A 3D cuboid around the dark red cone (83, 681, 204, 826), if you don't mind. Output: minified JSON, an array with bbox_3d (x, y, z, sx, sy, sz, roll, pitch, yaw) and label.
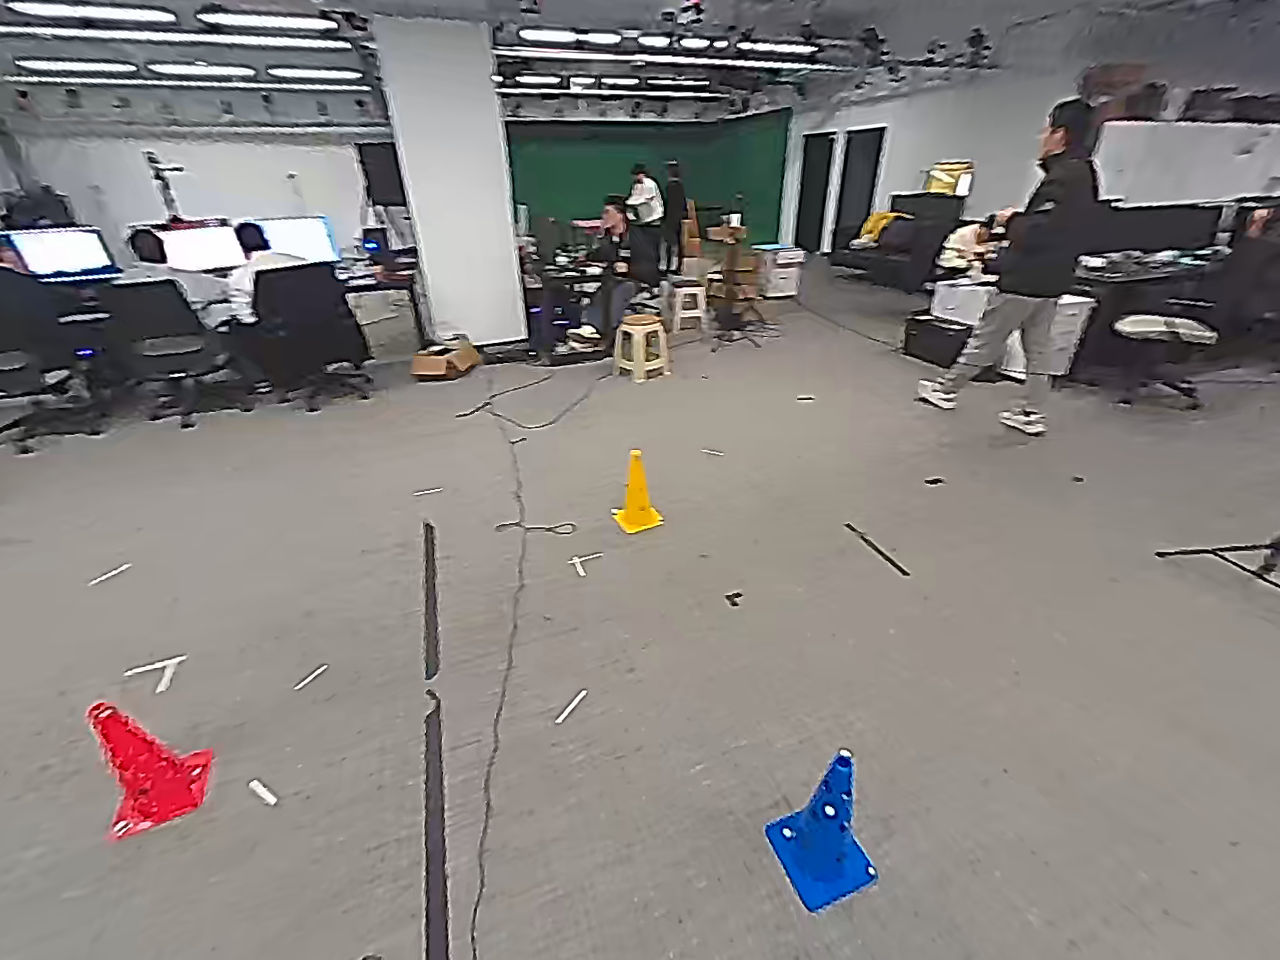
[{"bbox_3d":[-1.310,0.668,1.382,0.201,0.394,0.202,-14,32,-23],"label":"dark red cone"}]

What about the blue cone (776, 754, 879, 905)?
[{"bbox_3d":[0.440,0.751,1.215,0.192,0.380,0.193,-9,30,-16],"label":"blue cone"}]
